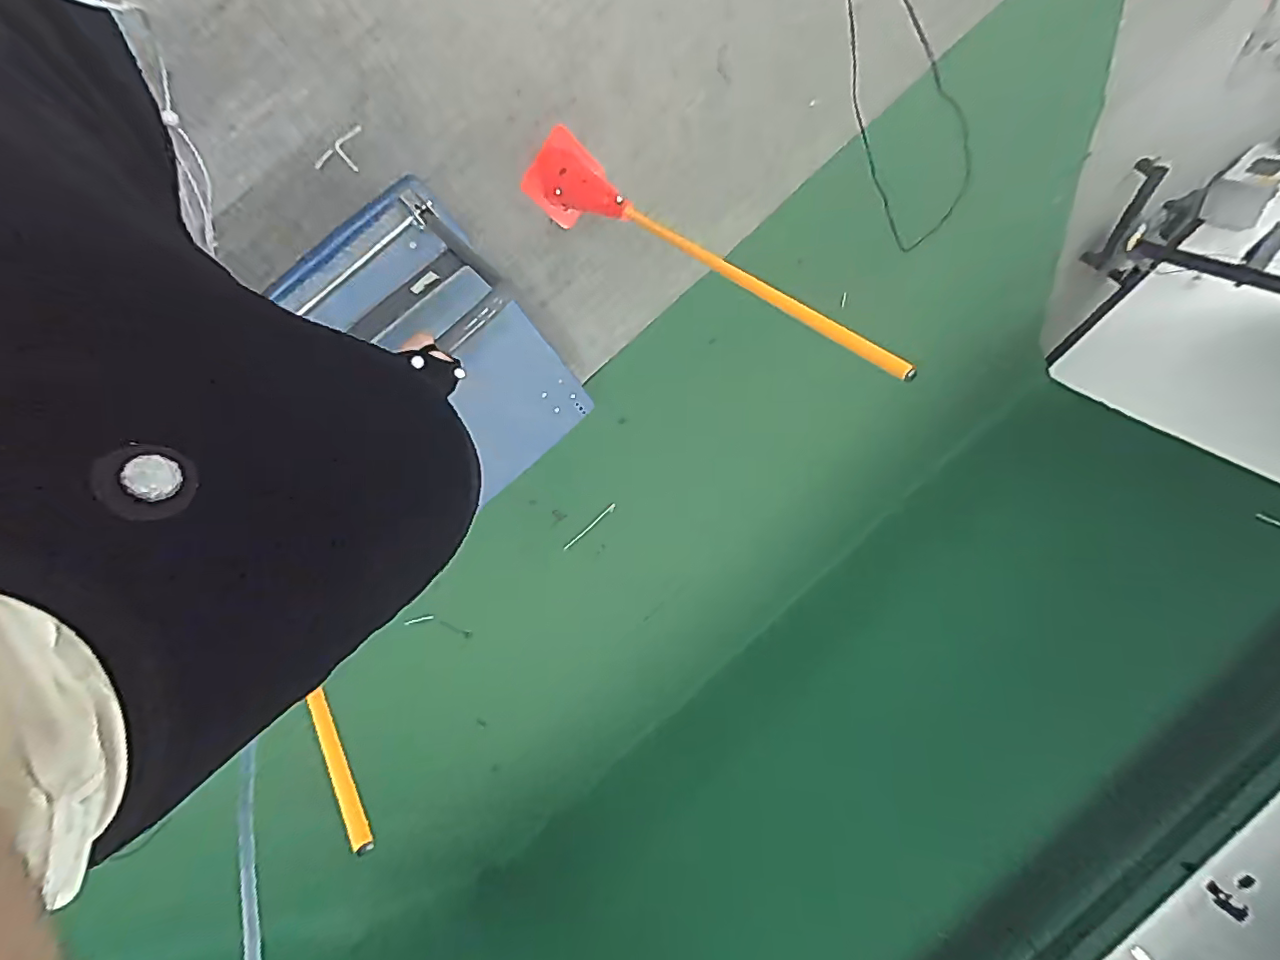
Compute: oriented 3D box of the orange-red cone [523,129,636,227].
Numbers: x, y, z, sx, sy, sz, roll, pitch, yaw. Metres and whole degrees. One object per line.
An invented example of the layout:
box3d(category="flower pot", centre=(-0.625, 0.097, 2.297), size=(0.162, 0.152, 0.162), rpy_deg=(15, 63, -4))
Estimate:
box3d(category="orange-red cone", centre=(-0.121, -0.755, 1.427), size=(0.199, 0.360, 0.198), rpy_deg=(-52, 141, 10))
